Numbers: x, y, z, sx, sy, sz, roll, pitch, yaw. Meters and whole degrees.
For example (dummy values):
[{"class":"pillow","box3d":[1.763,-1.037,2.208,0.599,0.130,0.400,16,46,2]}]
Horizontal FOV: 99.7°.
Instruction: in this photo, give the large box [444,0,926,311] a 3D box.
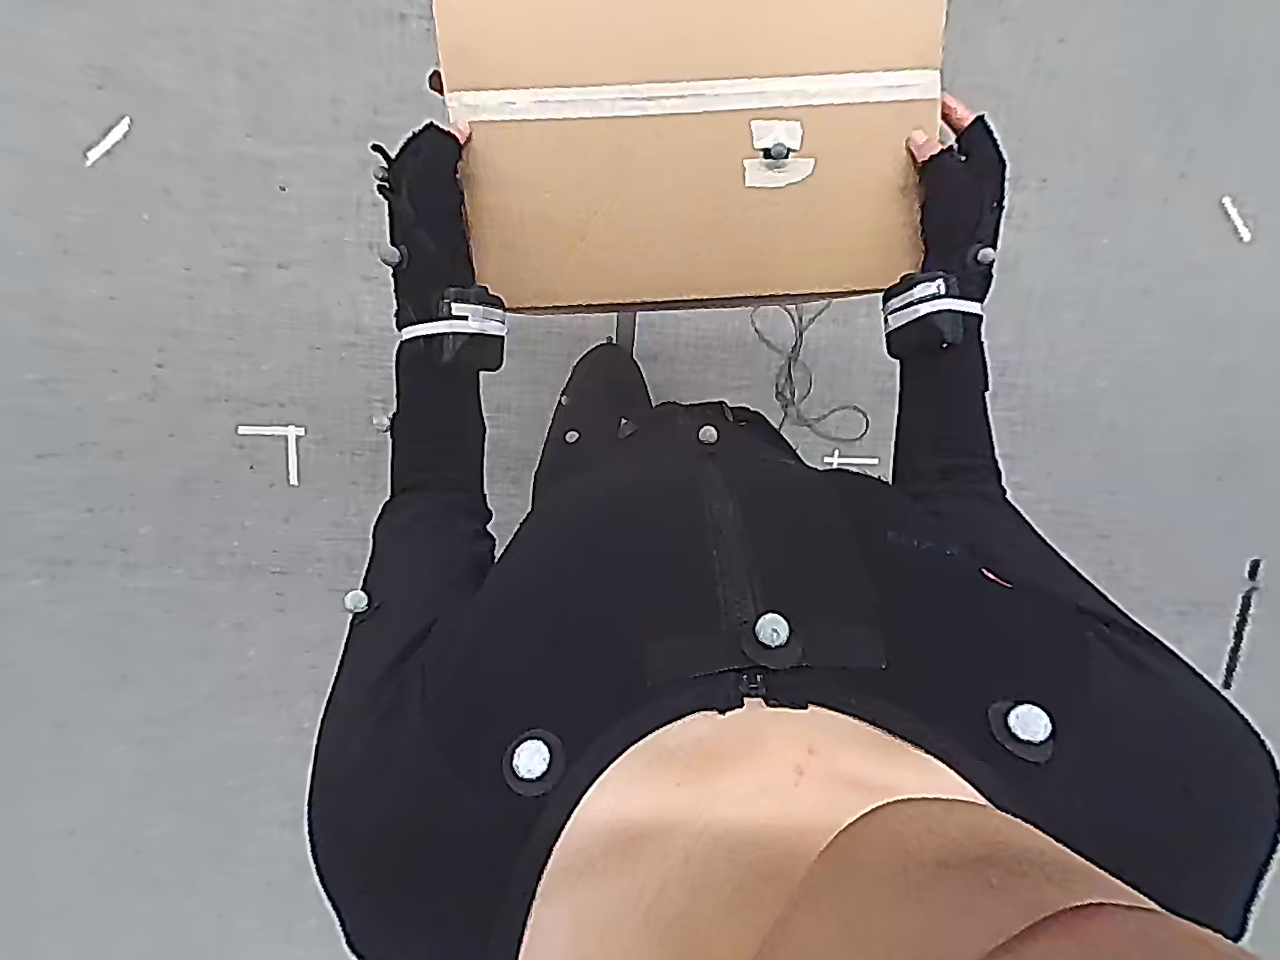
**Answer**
[{"class":"large box","box3d":[0.036,-0.369,0.607,0.408,0.320,0.320,-4,107,-2]}]
